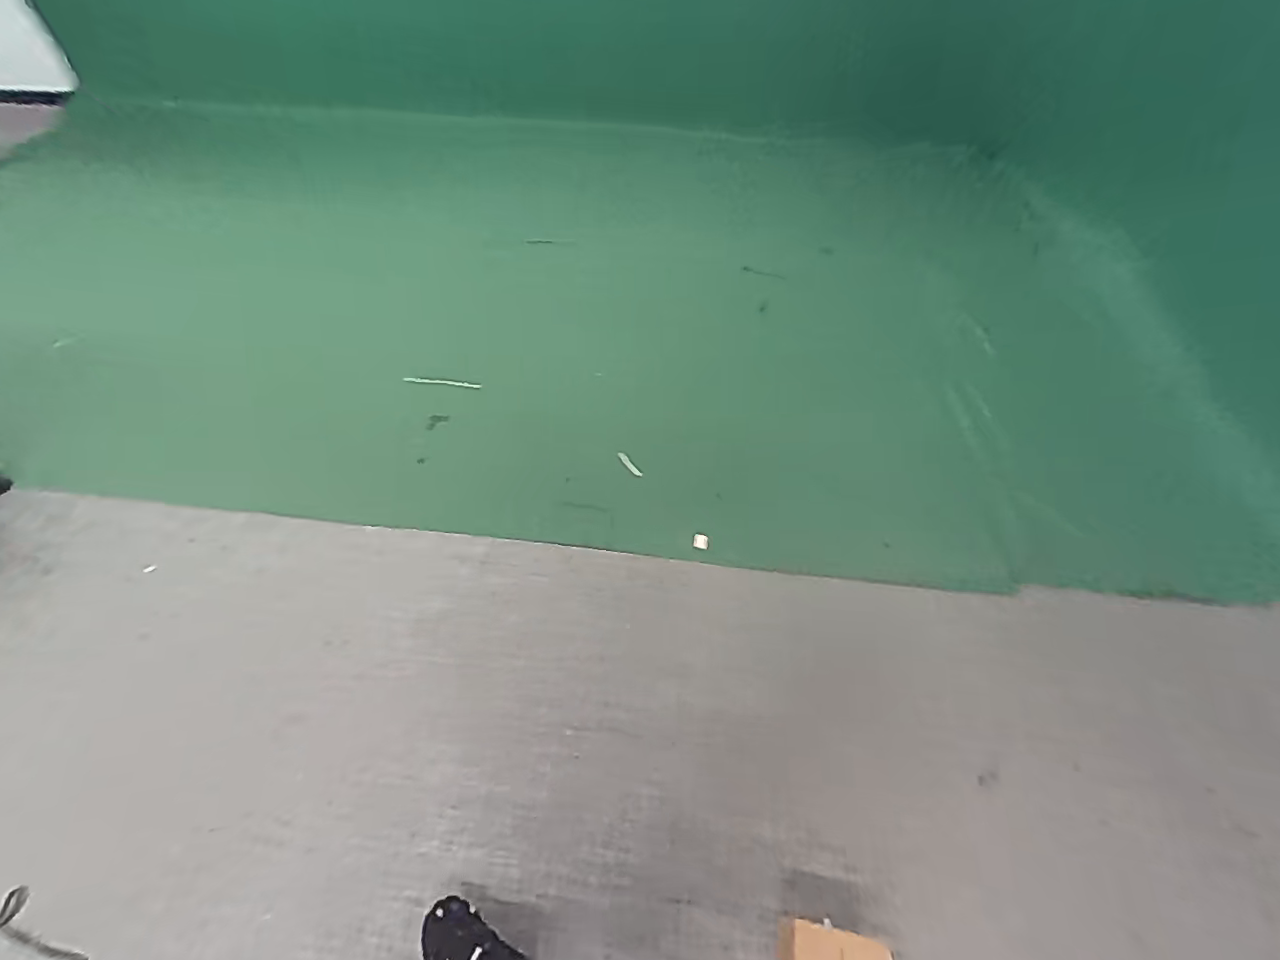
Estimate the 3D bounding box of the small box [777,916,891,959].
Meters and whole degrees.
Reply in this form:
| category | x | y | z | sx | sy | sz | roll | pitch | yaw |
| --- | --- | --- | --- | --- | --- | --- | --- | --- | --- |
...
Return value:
| category | x | y | z | sx | sy | sz | roll | pitch | yaw |
| --- | --- | --- | --- | --- | --- | --- | --- | --- | --- |
| small box | 0.344 | 0.919 | 0.976 | 0.168 | 0.176 | 0.179 | 10 | 51 | 8 |
